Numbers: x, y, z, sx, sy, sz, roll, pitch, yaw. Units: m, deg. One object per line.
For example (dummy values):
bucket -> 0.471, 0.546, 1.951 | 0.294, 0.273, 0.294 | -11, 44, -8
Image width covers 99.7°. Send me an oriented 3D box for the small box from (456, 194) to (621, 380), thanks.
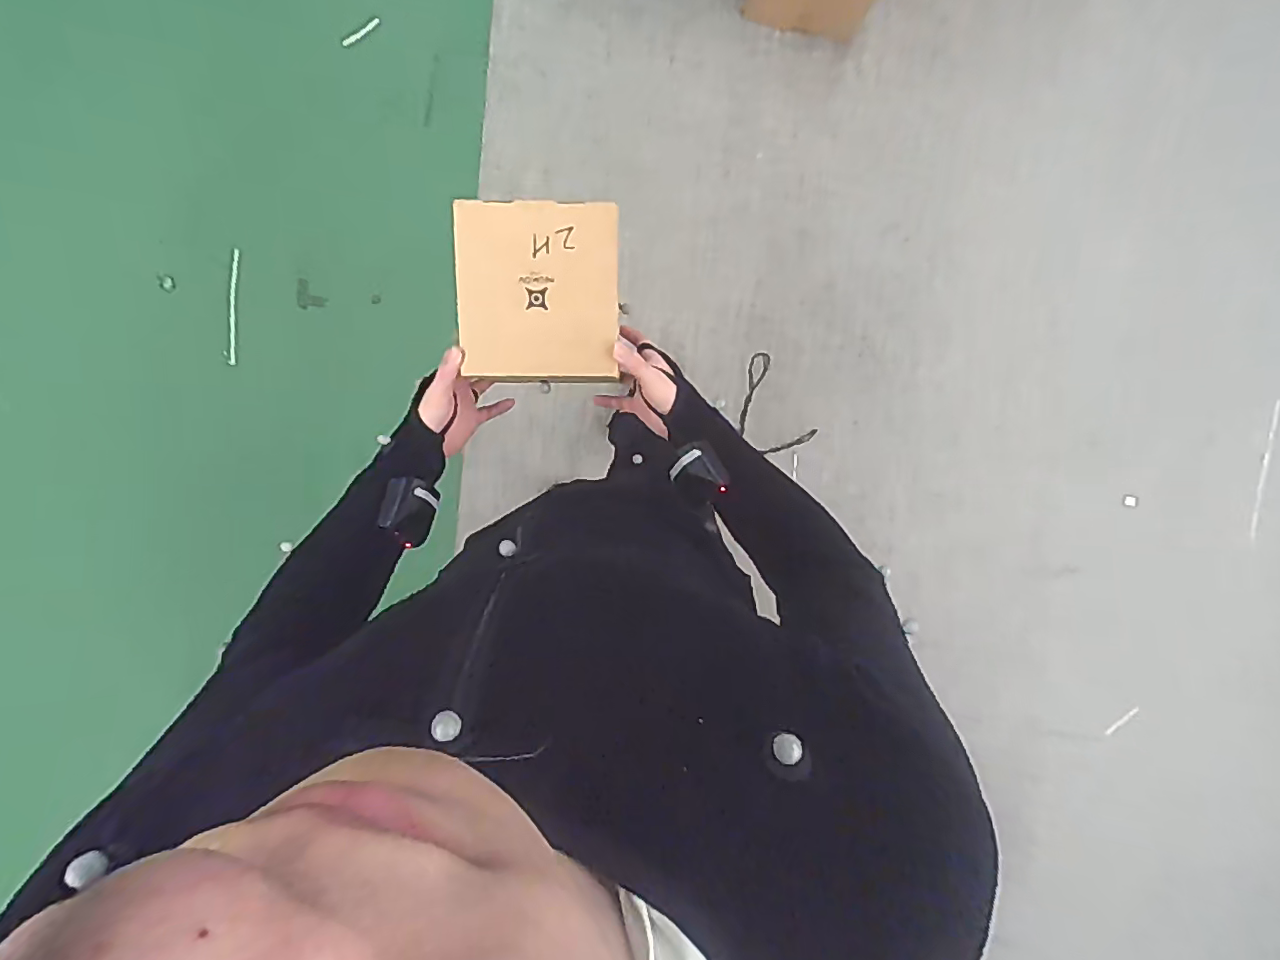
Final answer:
small box -> -0.107, -0.209, 0.633 | 0.168, 0.176, 0.179 | 1, 97, -2
